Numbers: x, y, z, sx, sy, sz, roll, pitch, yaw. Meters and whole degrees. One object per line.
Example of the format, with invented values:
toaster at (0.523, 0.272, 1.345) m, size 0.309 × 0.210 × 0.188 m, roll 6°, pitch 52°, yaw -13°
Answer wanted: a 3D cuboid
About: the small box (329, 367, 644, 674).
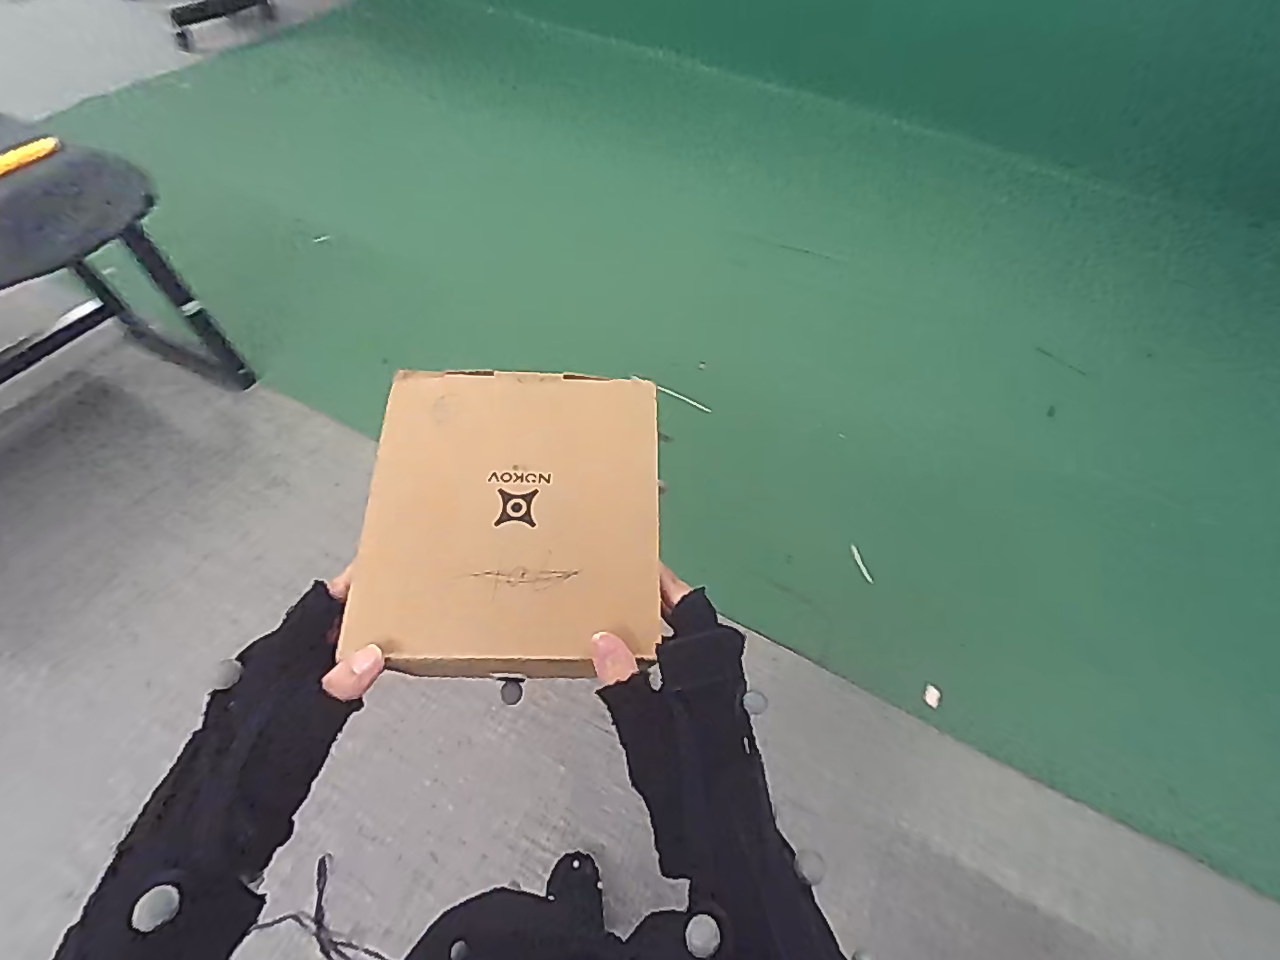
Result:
small box at (-0.087, 0.041, 0.389) m, size 0.168 × 0.176 × 0.179 m, roll 1°, pitch 67°, yaw -5°
